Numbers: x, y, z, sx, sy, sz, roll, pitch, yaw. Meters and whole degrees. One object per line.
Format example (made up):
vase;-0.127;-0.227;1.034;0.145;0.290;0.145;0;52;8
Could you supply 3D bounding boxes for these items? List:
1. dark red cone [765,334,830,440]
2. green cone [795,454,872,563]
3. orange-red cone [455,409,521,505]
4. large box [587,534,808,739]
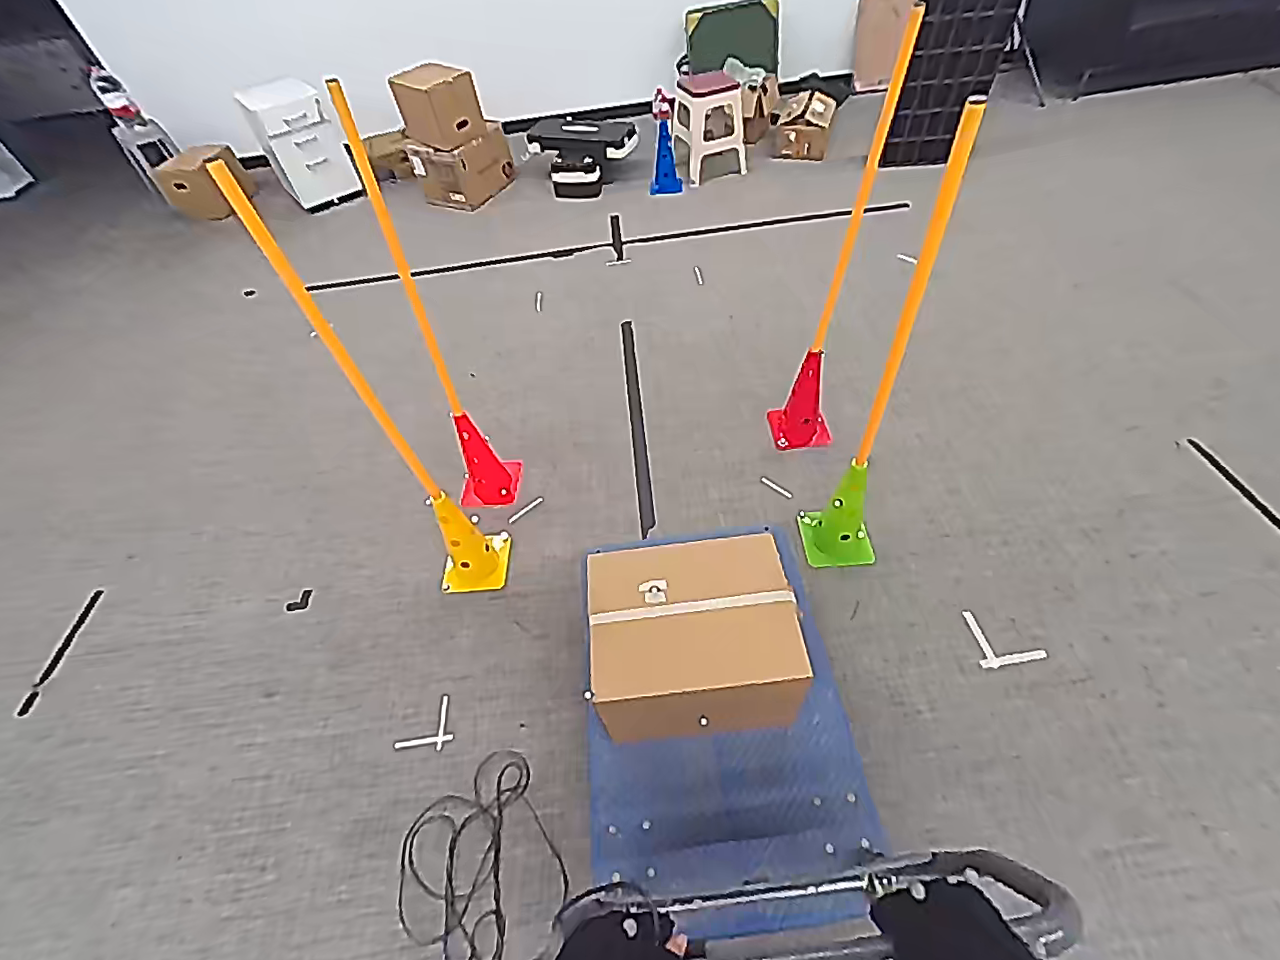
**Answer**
dark red cone;0.563;-0.324;1.848;0.201;0.394;0.202;-6;51;-1
green cone;0.589;0.063;1.555;0.202;0.368;0.200;-4;51;2
orange-red cone;-0.549;-0.099;1.817;0.198;0.360;0.199;-1;50;5
large box;0.112;0.352;1.190;0.408;0.320;0.320;-8;51;1
